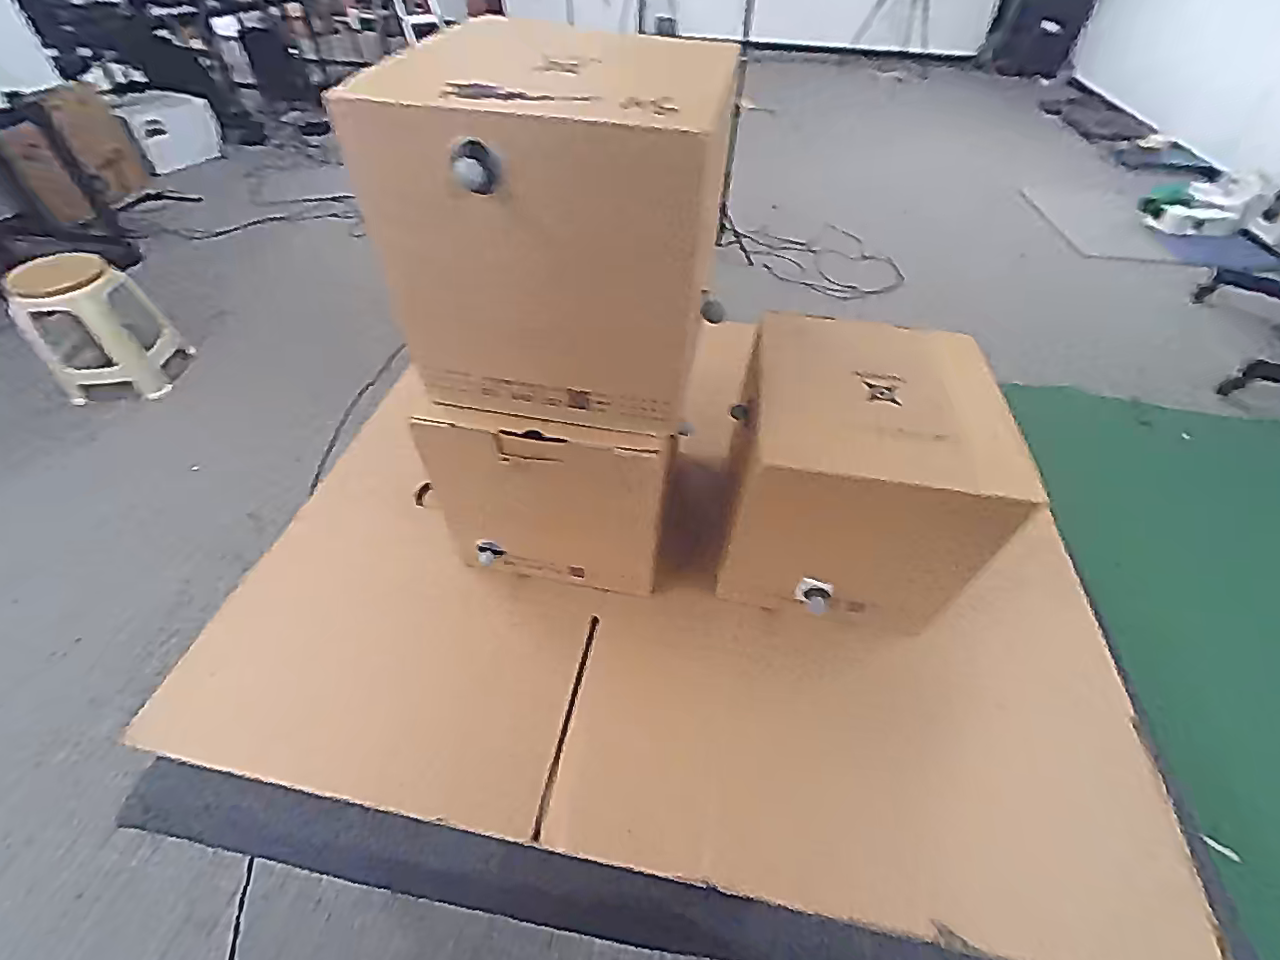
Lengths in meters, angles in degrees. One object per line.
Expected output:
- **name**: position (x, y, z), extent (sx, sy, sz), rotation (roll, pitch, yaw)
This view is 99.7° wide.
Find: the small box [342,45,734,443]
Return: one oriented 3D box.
- **small box**: position (-0.041, -0.151, 0.344), extent (0.168, 0.176, 0.179), rotation (9, 48, 7)
